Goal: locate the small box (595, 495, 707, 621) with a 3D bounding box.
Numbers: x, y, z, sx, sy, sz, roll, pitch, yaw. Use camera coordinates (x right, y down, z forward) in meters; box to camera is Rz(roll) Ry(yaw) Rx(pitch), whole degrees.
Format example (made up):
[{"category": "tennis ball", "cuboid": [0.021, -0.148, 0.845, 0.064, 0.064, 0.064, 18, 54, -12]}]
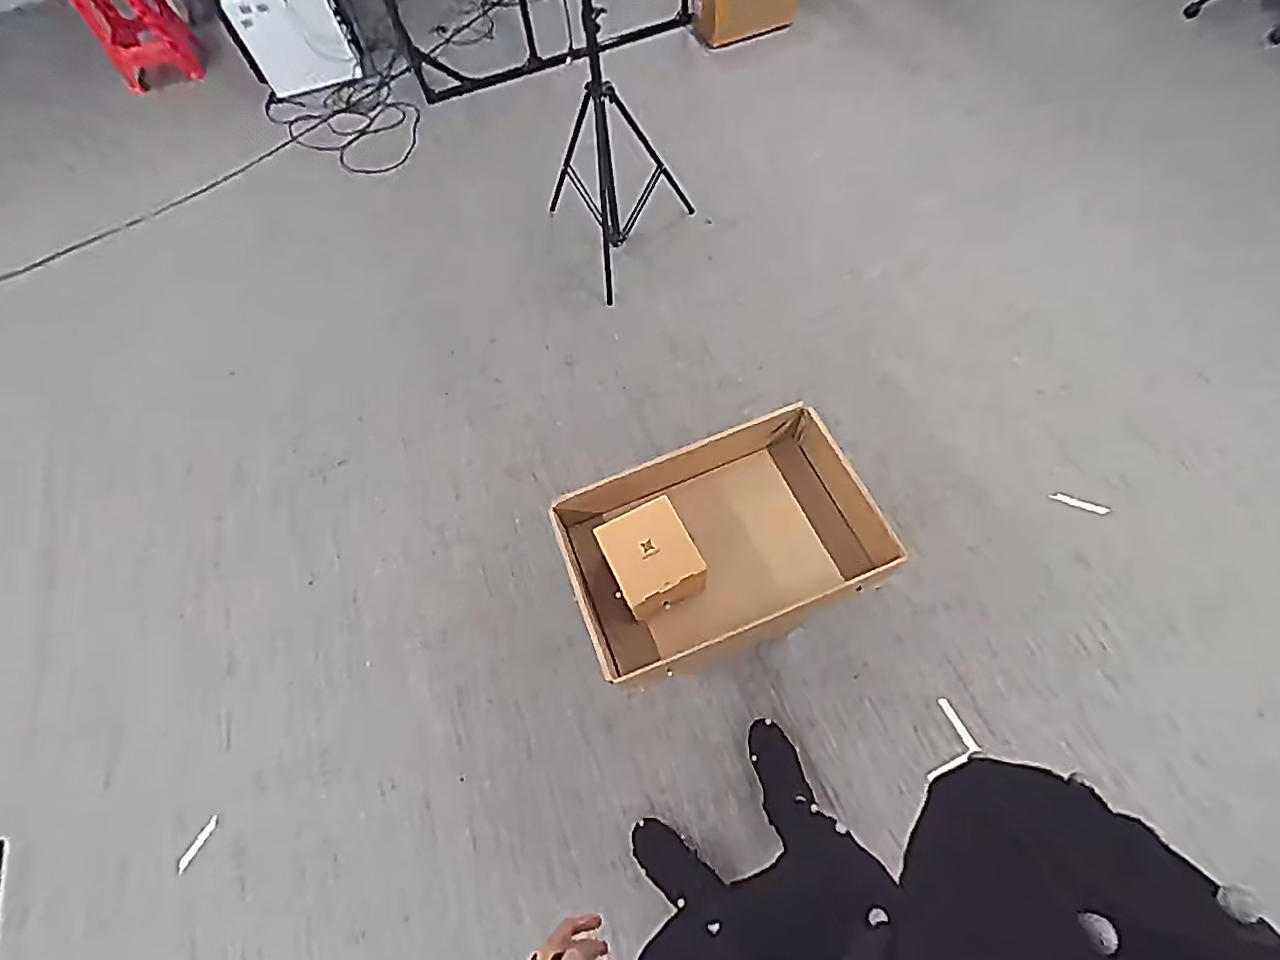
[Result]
[{"category": "small box", "cuboid": [0.024, 0.166, 1.115, 0.168, 0.176, 0.179, -26, 65, -7]}]
